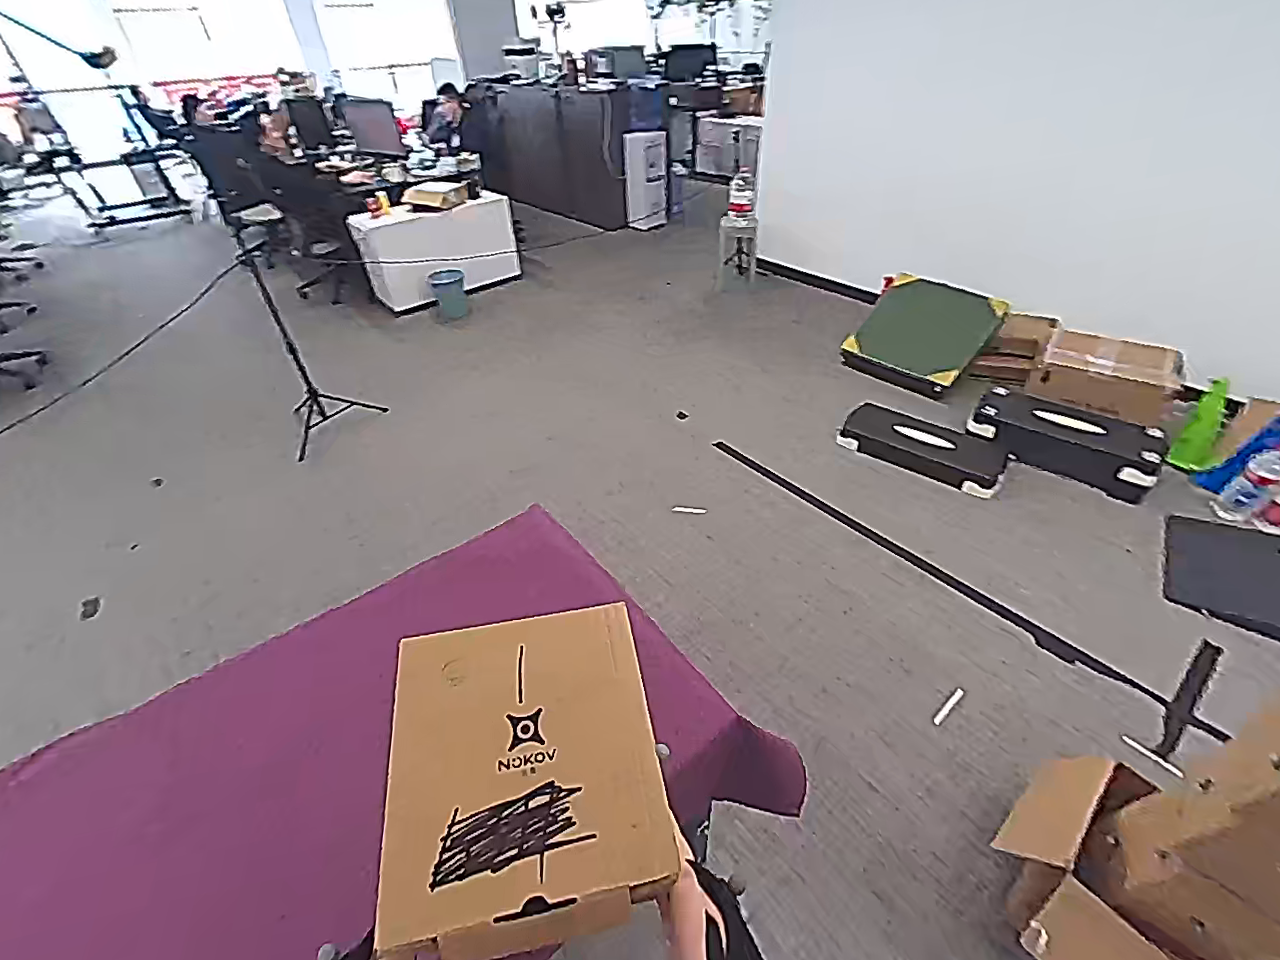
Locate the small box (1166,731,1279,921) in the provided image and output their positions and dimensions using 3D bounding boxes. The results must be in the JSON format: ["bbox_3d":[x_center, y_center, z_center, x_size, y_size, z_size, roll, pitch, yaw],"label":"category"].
[{"bbox_3d":[0.931,0.510,0.788,0.179,0.176,0.168,32,55,30],"label":"small box"}]

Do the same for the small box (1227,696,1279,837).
[{"bbox_3d":[0.912,0.385,0.684,0.168,0.176,0.179,34,55,31],"label":"small box"}]

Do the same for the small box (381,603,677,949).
[{"bbox_3d":[-0.074,0.219,0.406,0.168,0.176,0.179,-7,50,-9],"label":"small box"}]

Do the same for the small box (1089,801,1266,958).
[{"bbox_3d":[0.980,0.750,1.011,0.179,0.176,0.168,21,49,21],"label":"small box"}]
